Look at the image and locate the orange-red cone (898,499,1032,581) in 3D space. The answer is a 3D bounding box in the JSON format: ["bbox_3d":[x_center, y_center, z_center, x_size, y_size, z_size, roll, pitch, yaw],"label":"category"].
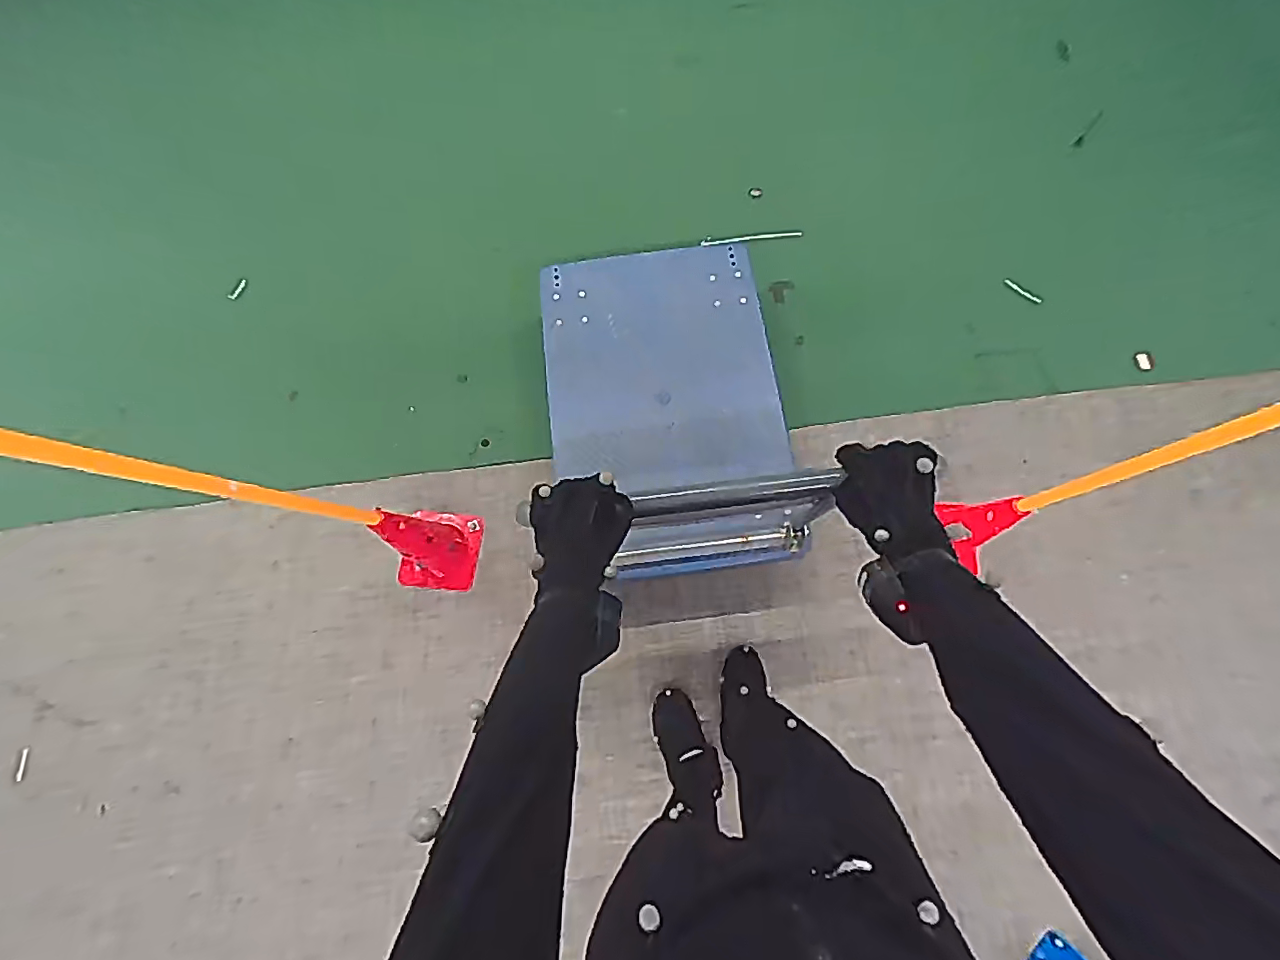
[{"bbox_3d":[0.759,0.107,1.226,0.198,0.360,0.199,3,74,4],"label":"orange-red cone"}]
